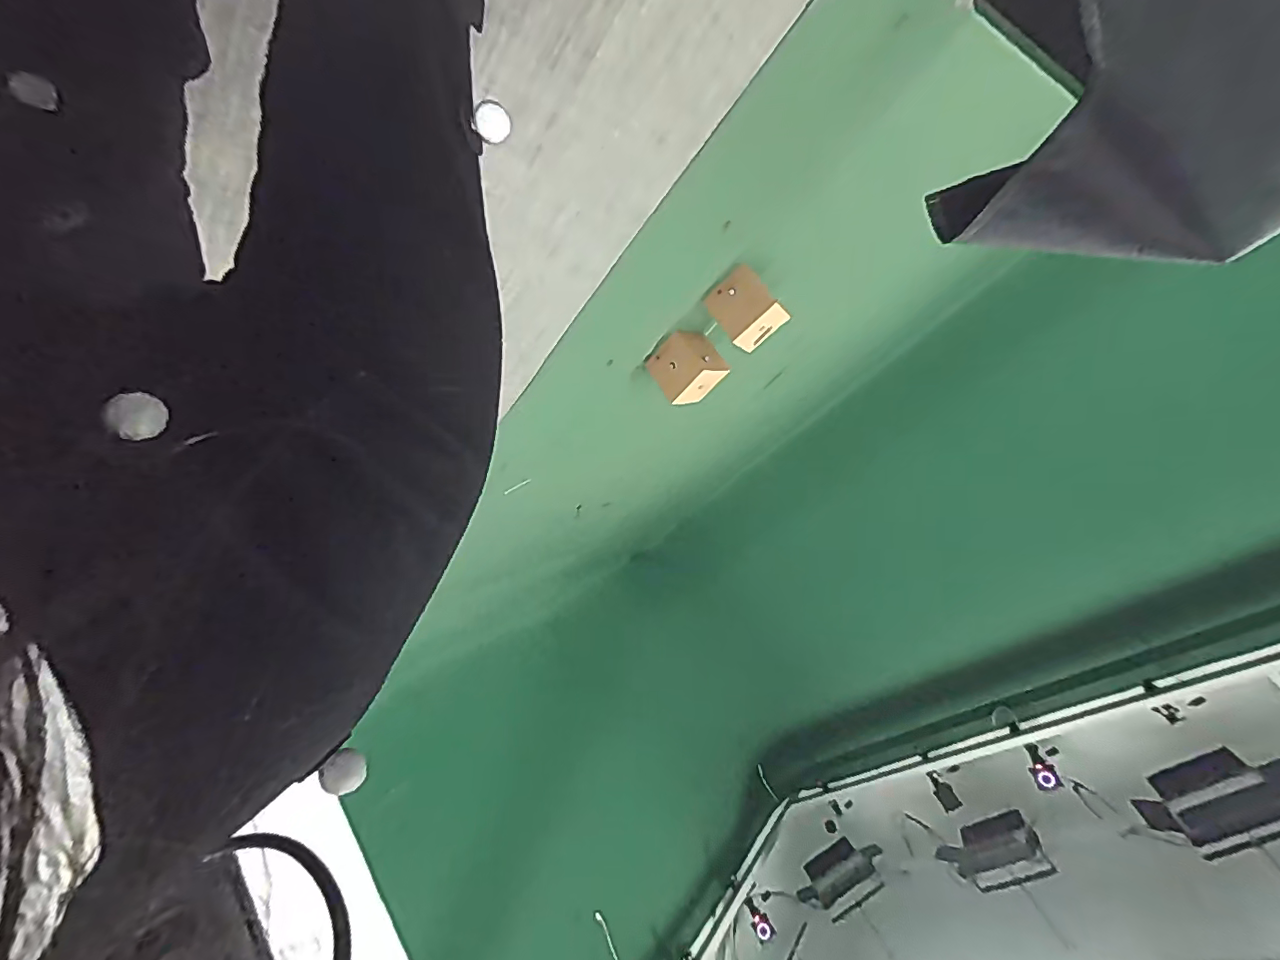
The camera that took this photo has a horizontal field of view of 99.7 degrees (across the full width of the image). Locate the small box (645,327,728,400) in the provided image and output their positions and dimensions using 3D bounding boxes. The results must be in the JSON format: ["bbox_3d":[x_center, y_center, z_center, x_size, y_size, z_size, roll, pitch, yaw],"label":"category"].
[{"bbox_3d":[0.148,-0.381,1.770,0.168,0.176,0.179,-43,164,35],"label":"small box"}]

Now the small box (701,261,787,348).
[{"bbox_3d":[0.315,-0.532,1.642,0.168,0.176,0.179,-40,164,23],"label":"small box"}]
